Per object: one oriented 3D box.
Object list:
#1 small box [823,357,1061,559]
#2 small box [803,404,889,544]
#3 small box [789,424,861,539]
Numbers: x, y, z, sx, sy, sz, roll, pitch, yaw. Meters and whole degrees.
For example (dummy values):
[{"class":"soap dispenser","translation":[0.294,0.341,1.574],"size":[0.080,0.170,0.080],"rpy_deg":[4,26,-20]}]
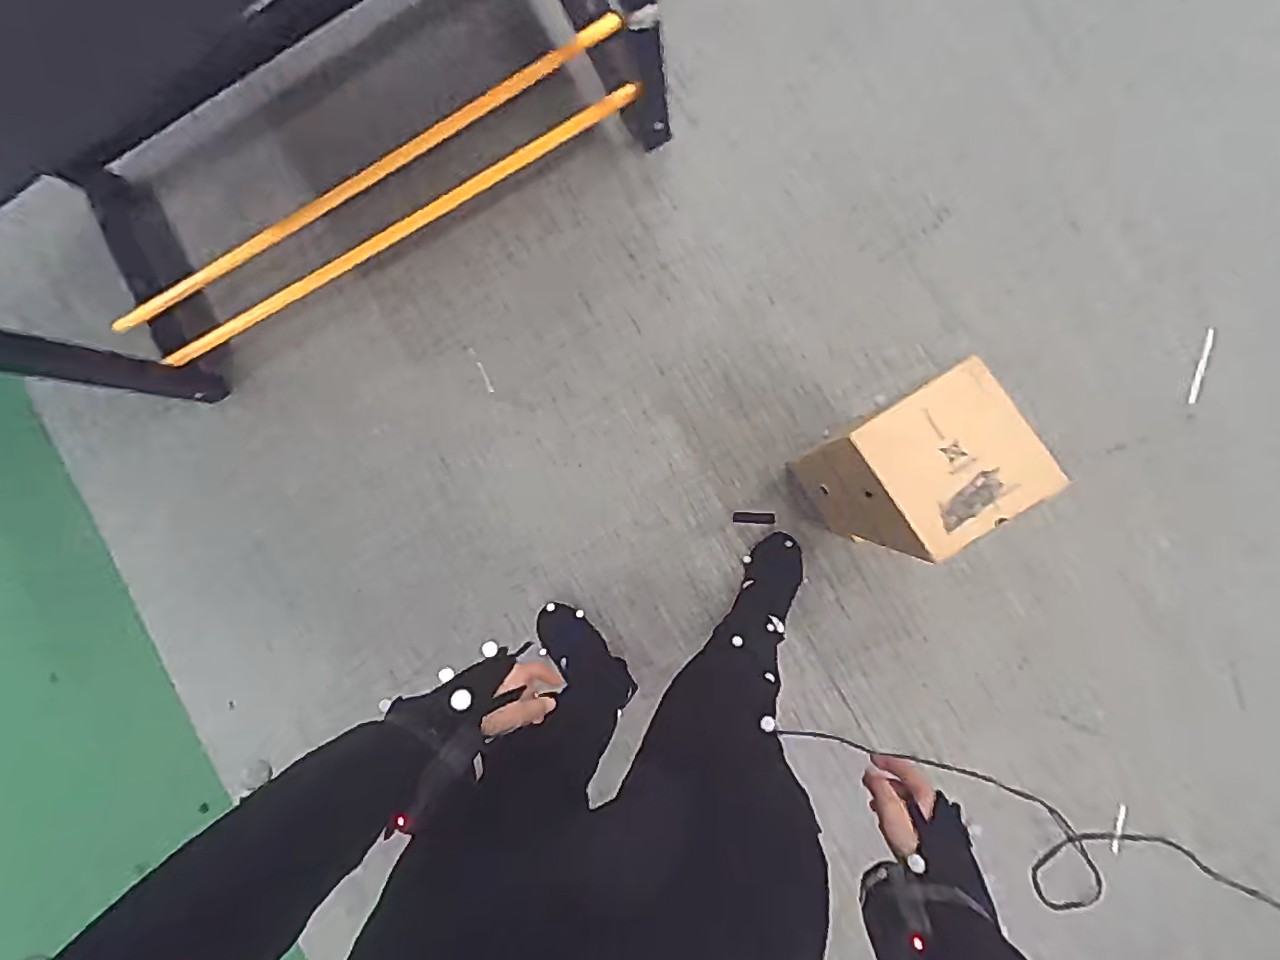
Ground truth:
[{"class":"small box","translation":[0.360,-0.024,0.684],"size":[0.168,0.176,0.179],"rpy_deg":[-33,85,5]},{"class":"small box","translation":[0.381,-0.021,0.847],"size":[0.179,0.176,0.168],"rpy_deg":[-34,85,6]},{"class":"small box","translation":[0.401,-0.009,1.009],"size":[0.168,0.176,0.179],"rpy_deg":[-33,86,5]}]
